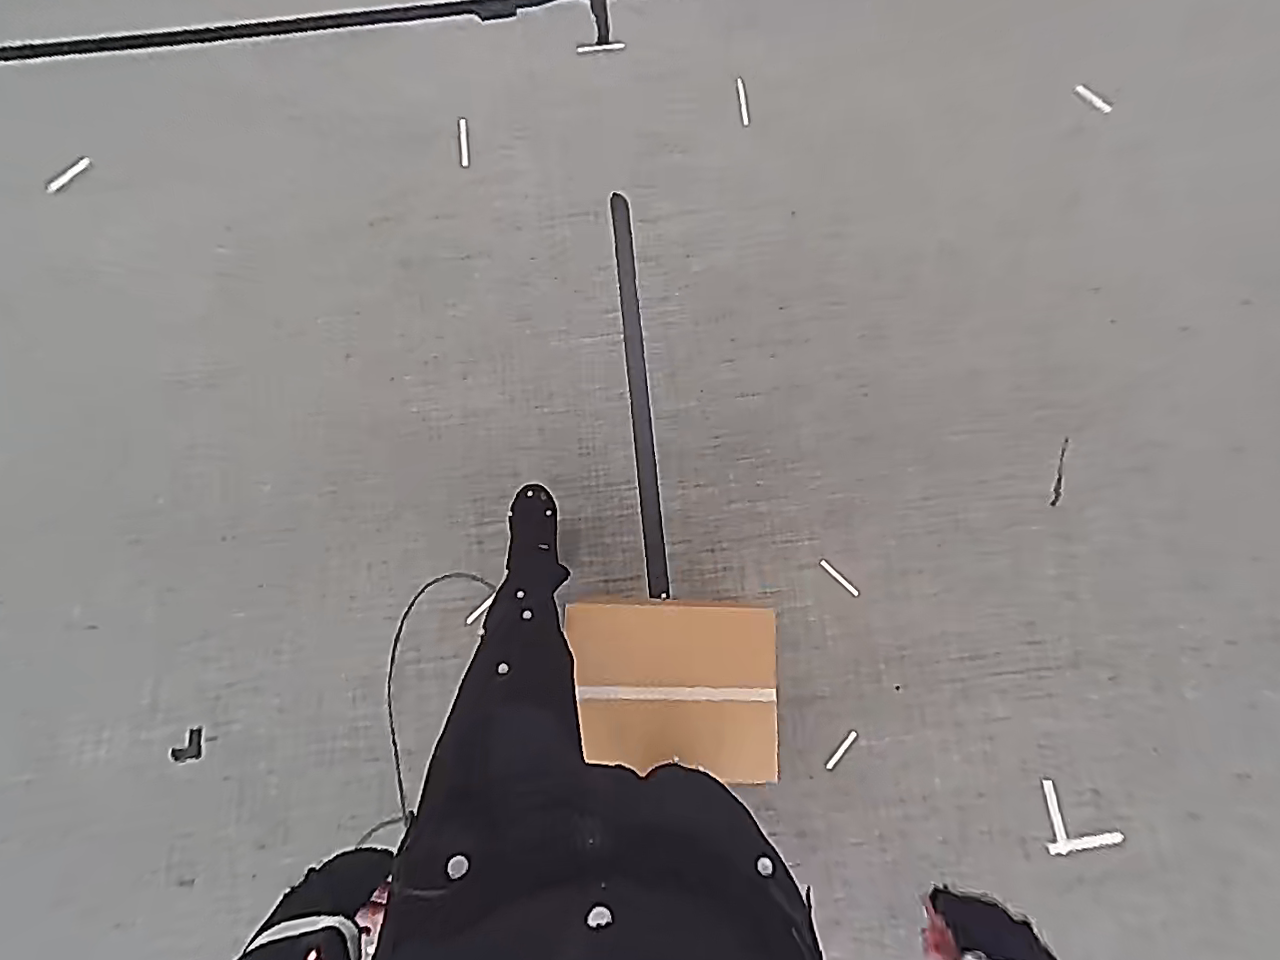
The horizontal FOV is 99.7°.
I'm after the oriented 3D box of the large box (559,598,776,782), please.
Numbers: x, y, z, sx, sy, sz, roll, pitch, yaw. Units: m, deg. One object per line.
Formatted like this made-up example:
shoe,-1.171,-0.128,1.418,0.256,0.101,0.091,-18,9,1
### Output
large box,0.051,0.421,1.156,0.408,0.320,0.320,1,80,-1
